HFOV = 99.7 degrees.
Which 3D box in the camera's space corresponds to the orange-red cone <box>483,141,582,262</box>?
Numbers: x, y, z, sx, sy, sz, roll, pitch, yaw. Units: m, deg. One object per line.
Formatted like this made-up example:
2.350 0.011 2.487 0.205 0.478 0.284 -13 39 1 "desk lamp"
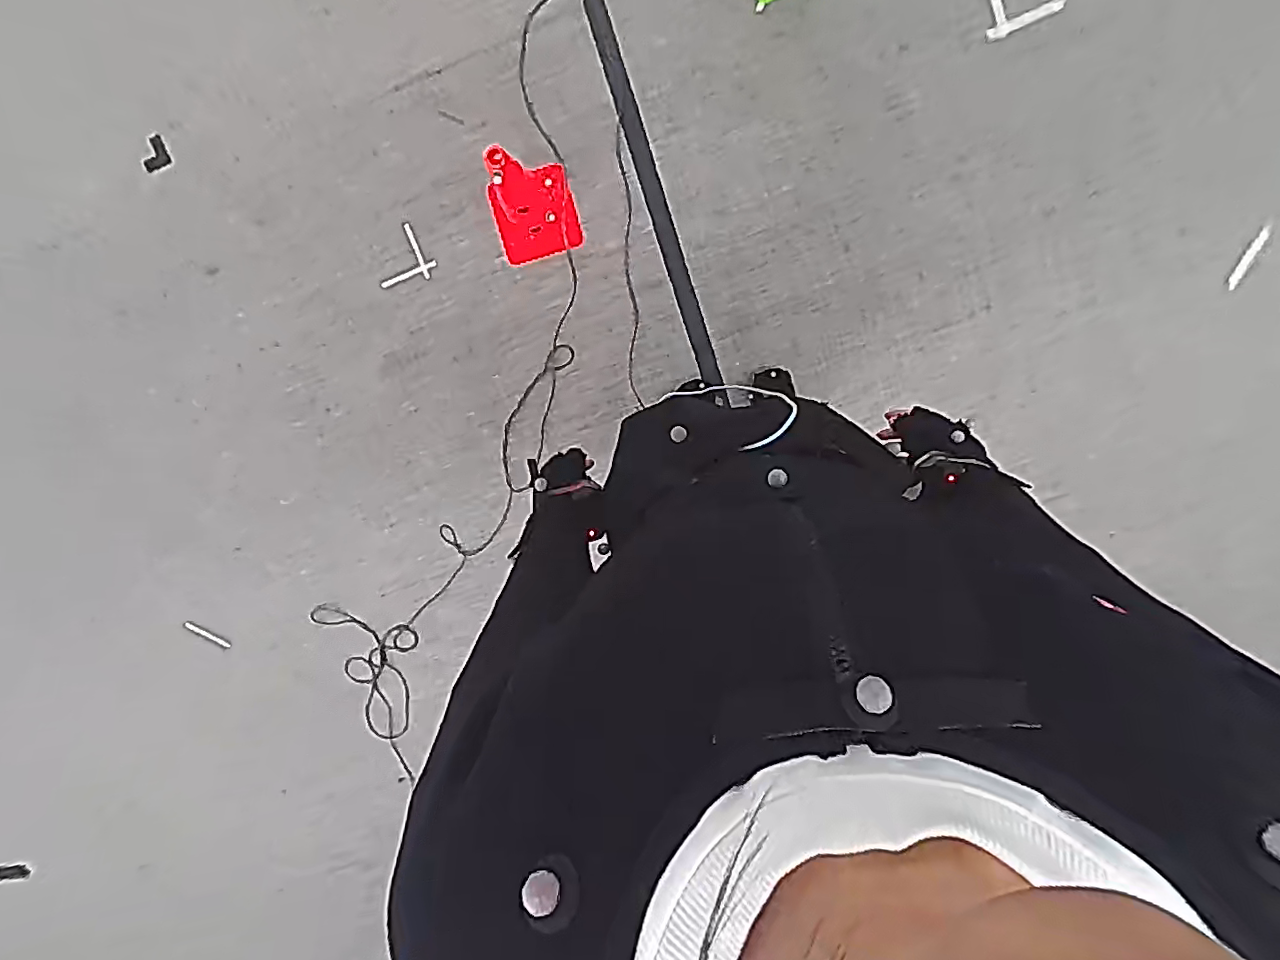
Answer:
-0.261 -0.620 1.149 0.199 0.360 0.198 -14 99 5 "orange-red cone"
